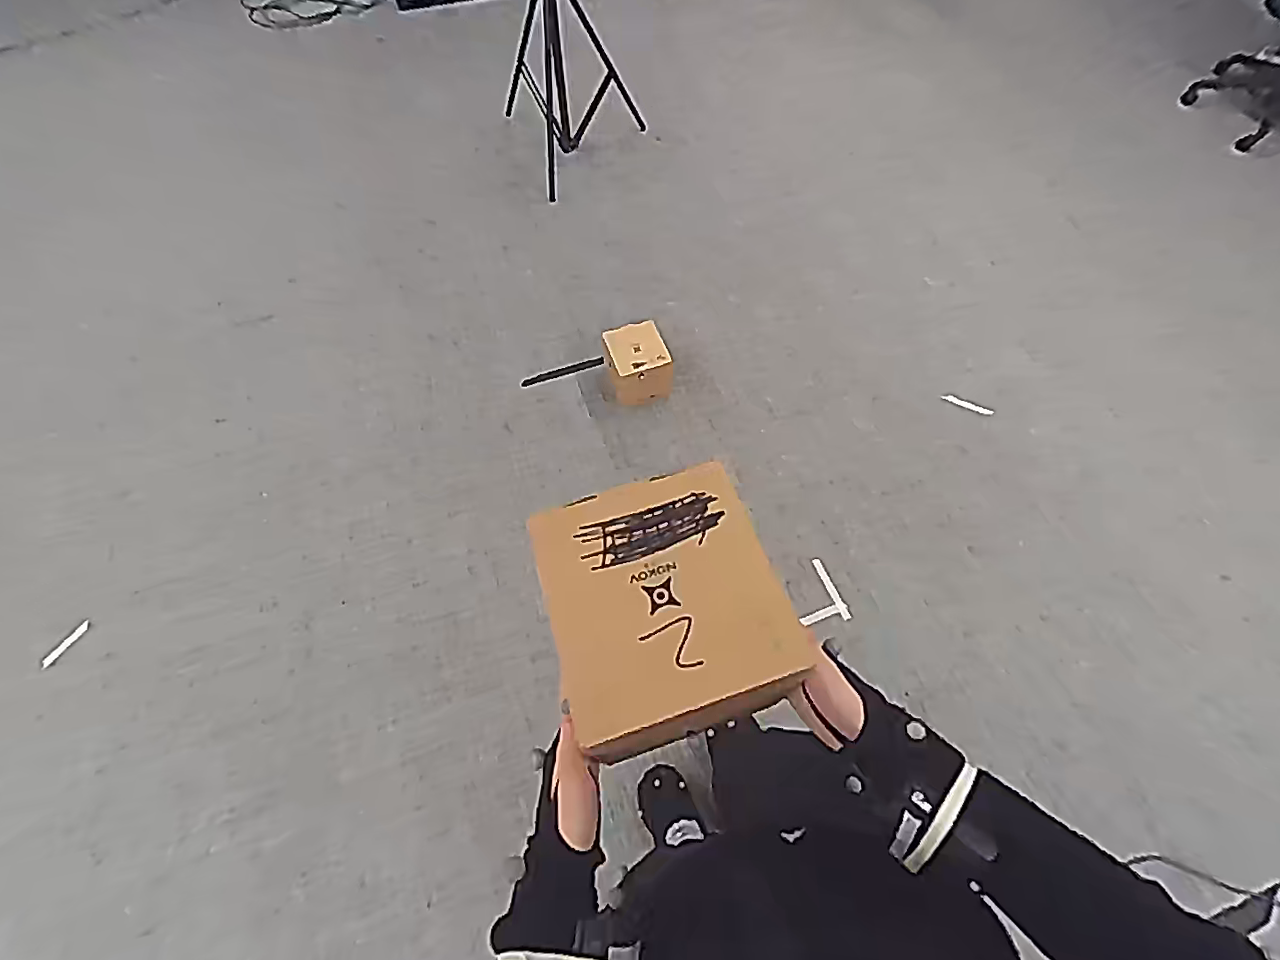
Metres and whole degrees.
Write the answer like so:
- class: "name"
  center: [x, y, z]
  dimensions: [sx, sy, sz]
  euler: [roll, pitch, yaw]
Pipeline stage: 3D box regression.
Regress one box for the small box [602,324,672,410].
- class: "small box"
  center: [-0.012, -0.349, 1.678]
  dimensions: [0.168, 0.176, 0.179]
  euler: [-18, 64, -10]
